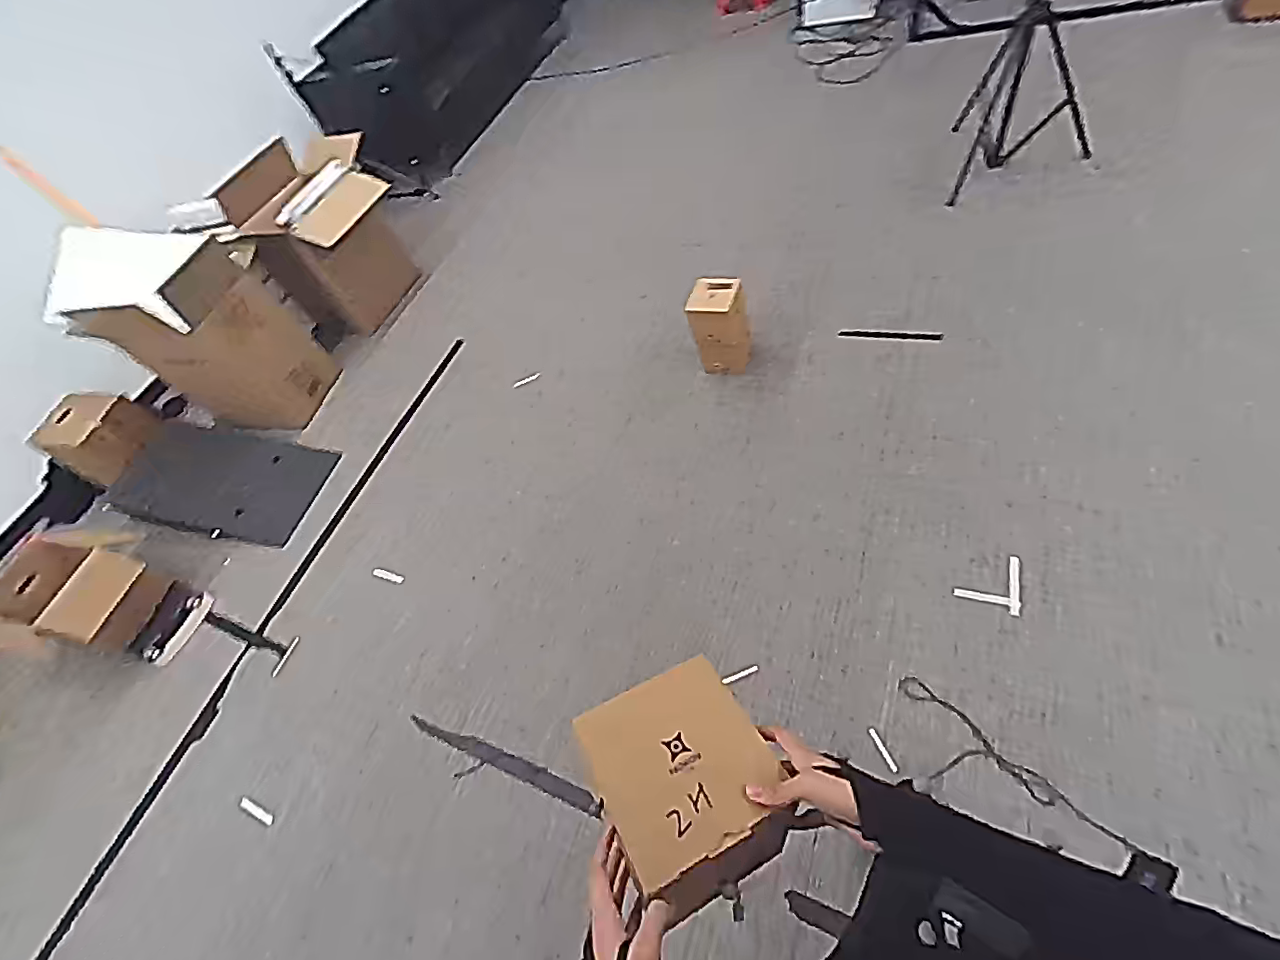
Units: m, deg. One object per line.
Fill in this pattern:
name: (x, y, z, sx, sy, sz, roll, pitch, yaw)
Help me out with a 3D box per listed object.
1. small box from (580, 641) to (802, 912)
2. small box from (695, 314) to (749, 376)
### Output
small box: (0.047, 0.319, 0.592, 0.168, 0.176, 0.179, -20, 43, -18)
small box: (0.334, -0.540, 2.166, 0.168, 0.176, 0.179, 7, 59, 23)
